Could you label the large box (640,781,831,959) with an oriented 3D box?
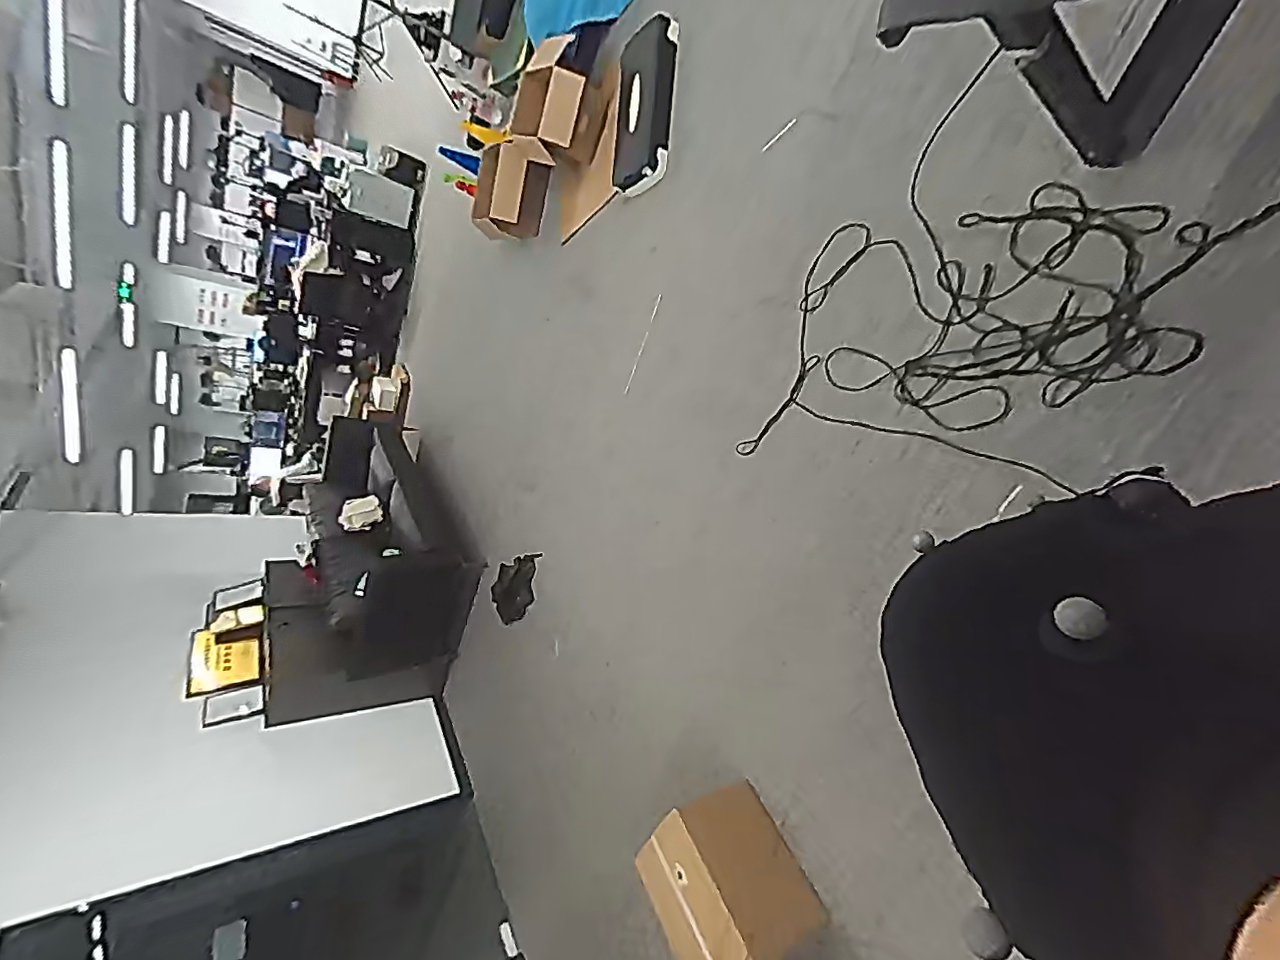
[{"bbox_3d":[0.266,1.194,1.590,0.408,0.320,0.320,53,126,43],"label":"large box"}]
